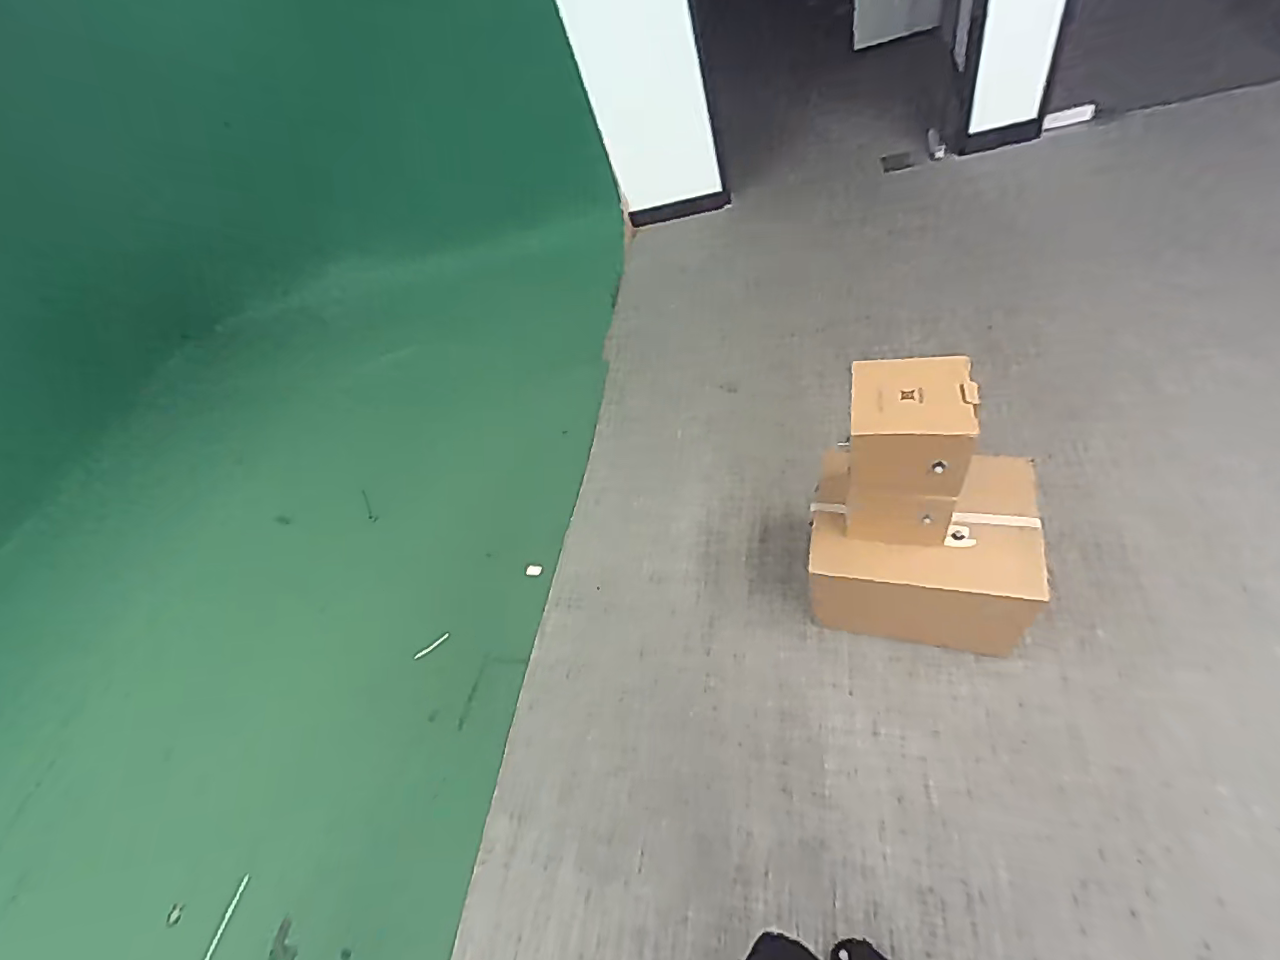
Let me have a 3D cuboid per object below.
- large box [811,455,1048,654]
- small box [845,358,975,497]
[{"bbox_3d":[0.601,0.160,1.198,0.408,0.320,0.320,3,58,22],"label":"large box"},{"bbox_3d":[0.441,-0.083,0.909,0.179,0.176,0.168,0,54,22],"label":"small box"}]
